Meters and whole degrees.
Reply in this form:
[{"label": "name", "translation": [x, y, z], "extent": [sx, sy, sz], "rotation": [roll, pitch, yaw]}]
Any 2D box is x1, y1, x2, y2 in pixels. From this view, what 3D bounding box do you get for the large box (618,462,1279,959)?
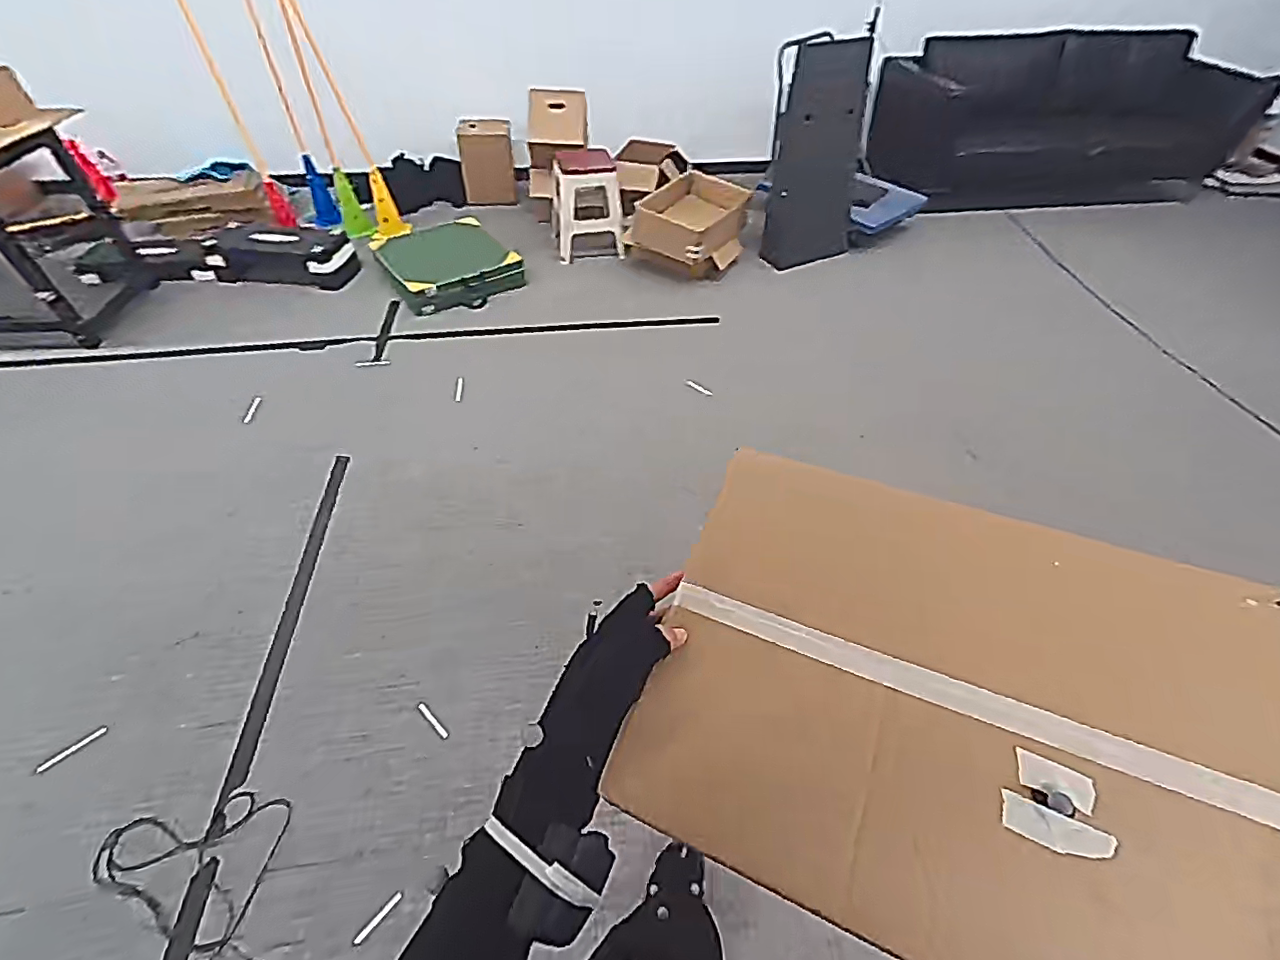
[{"label": "large box", "translation": [0.239, 0.233, 0.518], "extent": [0.408, 0.320, 0.320], "rotation": [17, 63, 19]}]
